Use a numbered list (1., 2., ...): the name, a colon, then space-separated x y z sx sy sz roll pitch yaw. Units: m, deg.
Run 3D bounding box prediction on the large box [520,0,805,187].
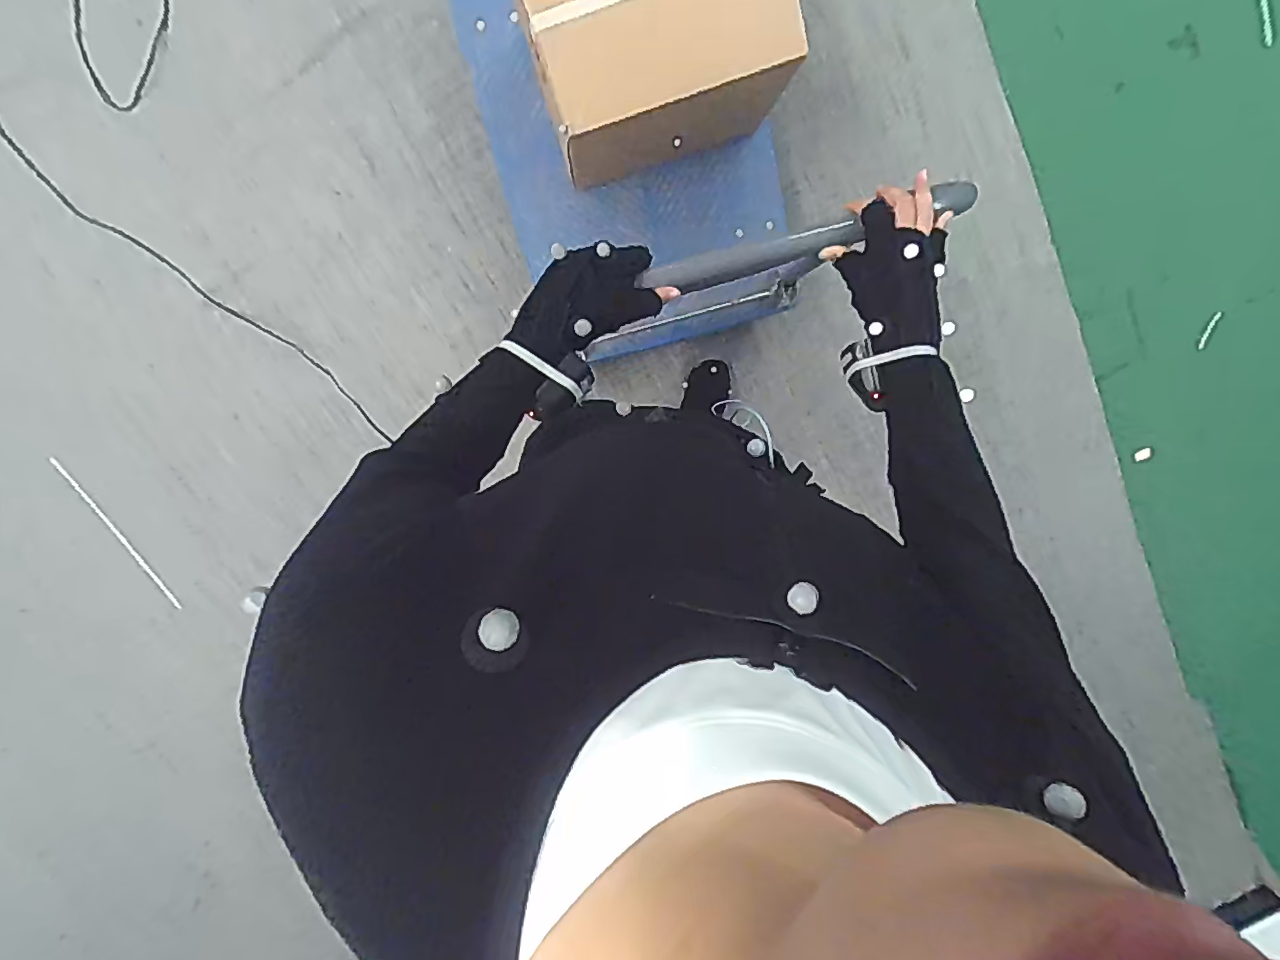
1. large box: 0.024 -0.793 0.977 0.408 0.320 0.320 -20 104 2
